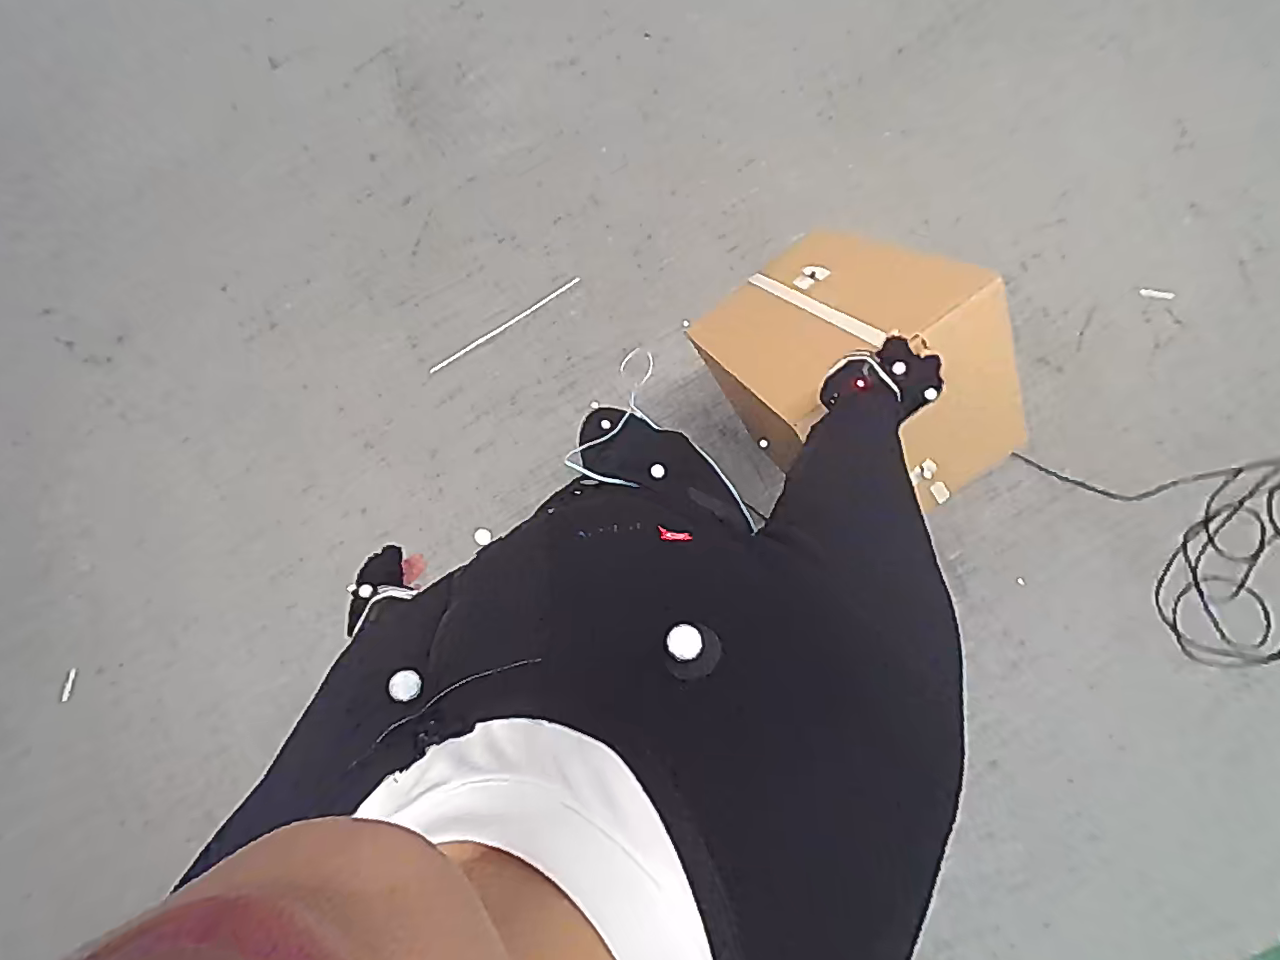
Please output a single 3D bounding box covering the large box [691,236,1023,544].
[{"bbox_3d":[0.353,-0.169,0.939,0.320,0.408,0.320,-36,125,5],"label":"large box"}]
